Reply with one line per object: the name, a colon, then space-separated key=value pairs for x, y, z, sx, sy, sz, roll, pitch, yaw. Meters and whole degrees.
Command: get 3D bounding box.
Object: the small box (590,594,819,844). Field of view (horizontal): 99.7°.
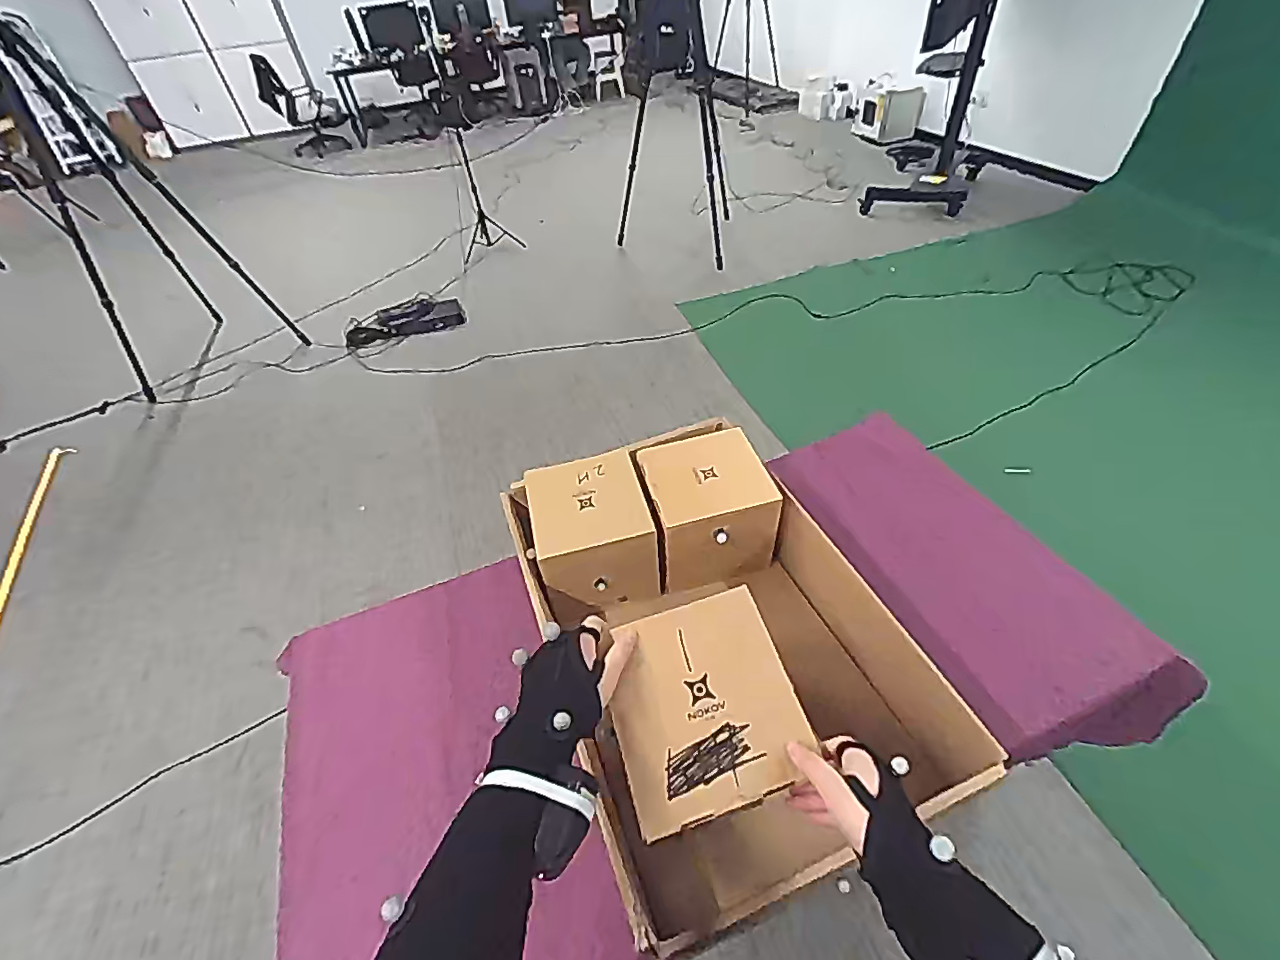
small box: x=0.058 y=0.249 z=0.567 sx=0.168 sy=0.176 sz=0.179 roll=-18 pitch=59 yaw=-8
